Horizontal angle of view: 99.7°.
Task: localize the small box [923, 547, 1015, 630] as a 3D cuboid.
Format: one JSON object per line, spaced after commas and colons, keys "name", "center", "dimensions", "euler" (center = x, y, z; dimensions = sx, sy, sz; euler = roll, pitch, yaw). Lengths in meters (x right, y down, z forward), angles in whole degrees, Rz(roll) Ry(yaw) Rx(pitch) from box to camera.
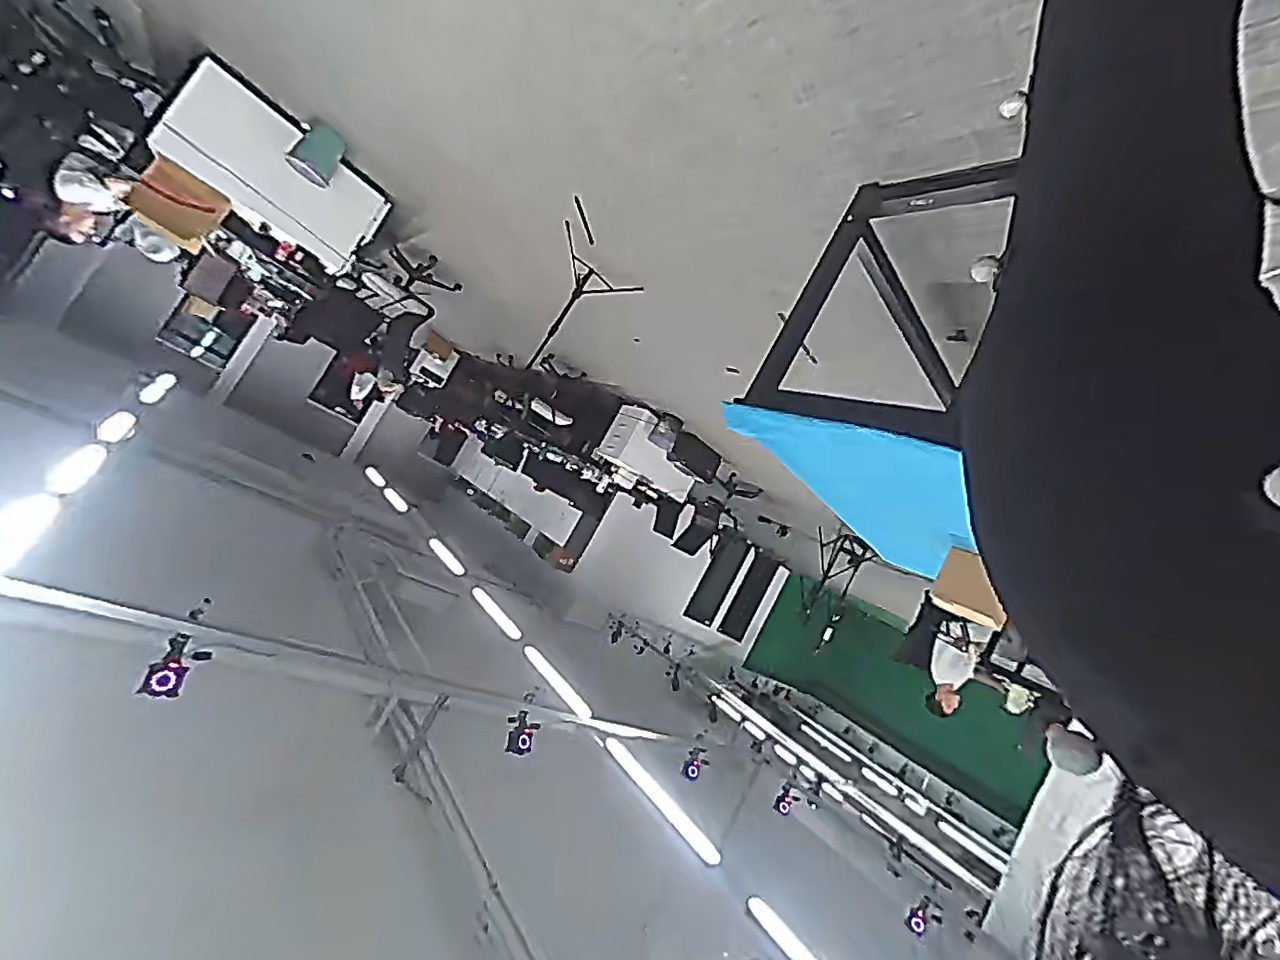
{"name": "small box", "center": [1.002, 0.333, 1.646], "dimensions": [0.179, 0.176, 0.168], "euler": [22, 170, 46]}
